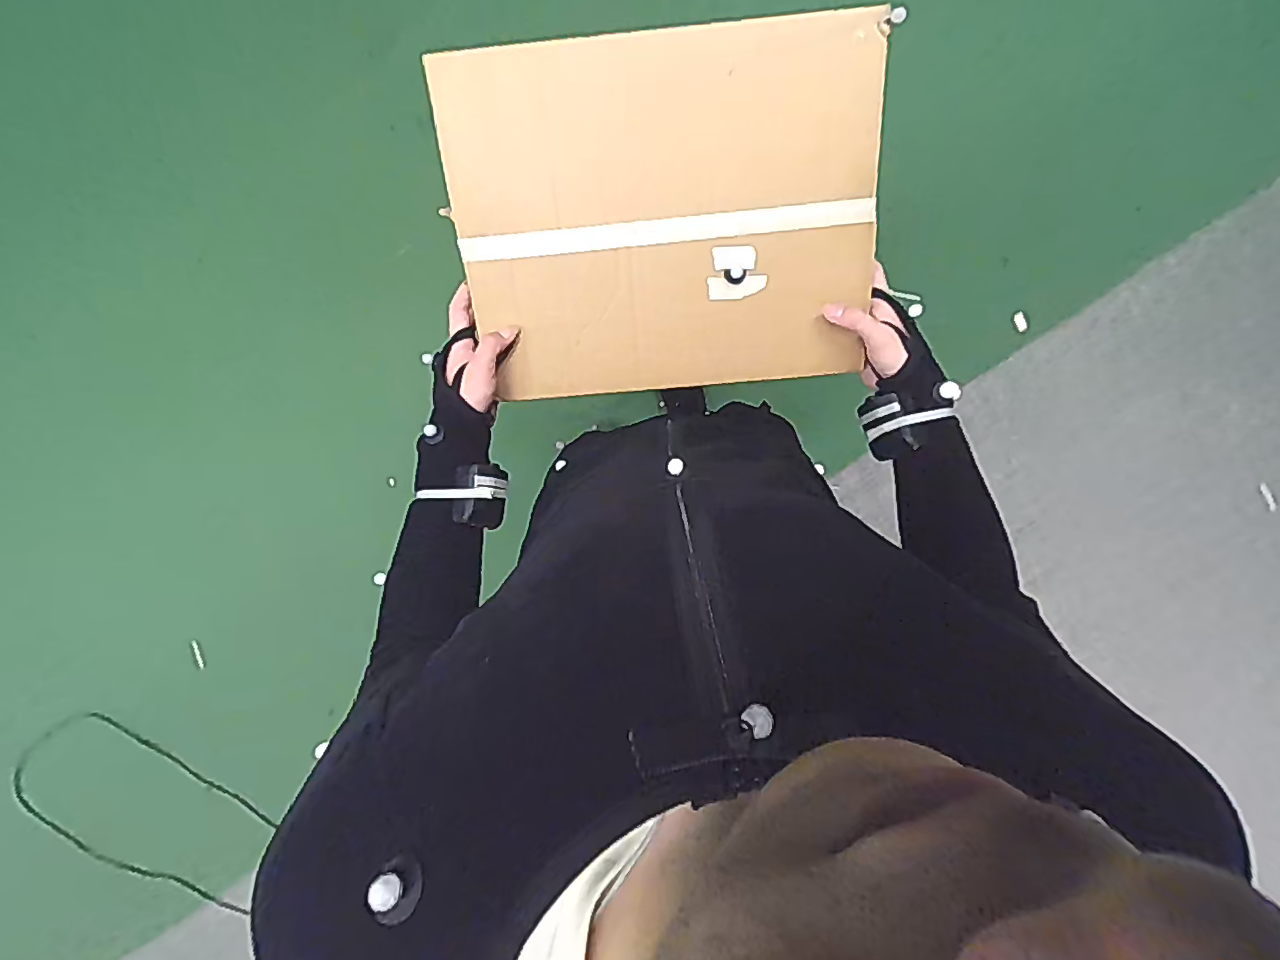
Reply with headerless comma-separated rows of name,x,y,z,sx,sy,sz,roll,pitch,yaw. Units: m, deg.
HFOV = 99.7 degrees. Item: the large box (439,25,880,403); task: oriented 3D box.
large box,0.025,-0.297,0.673,0.408,0.320,0.320,-4,113,1
